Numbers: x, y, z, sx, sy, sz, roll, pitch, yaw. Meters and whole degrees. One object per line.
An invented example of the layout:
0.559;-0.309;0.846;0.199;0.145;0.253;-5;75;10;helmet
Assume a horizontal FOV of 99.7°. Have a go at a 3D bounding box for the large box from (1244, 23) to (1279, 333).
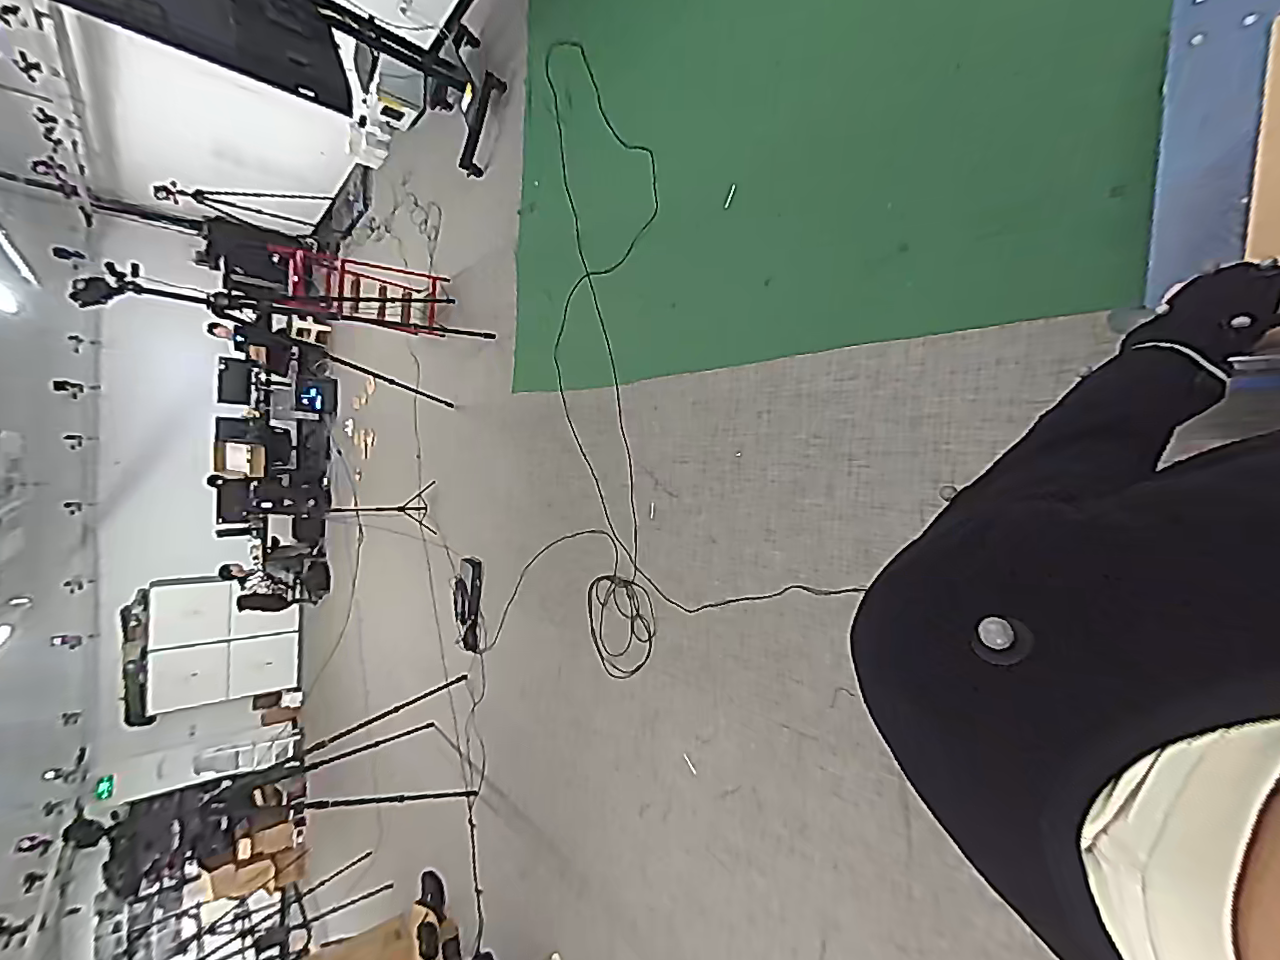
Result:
1.140;-0.465;0.792;0.320;0.320;0.408;7;93;49;large box
